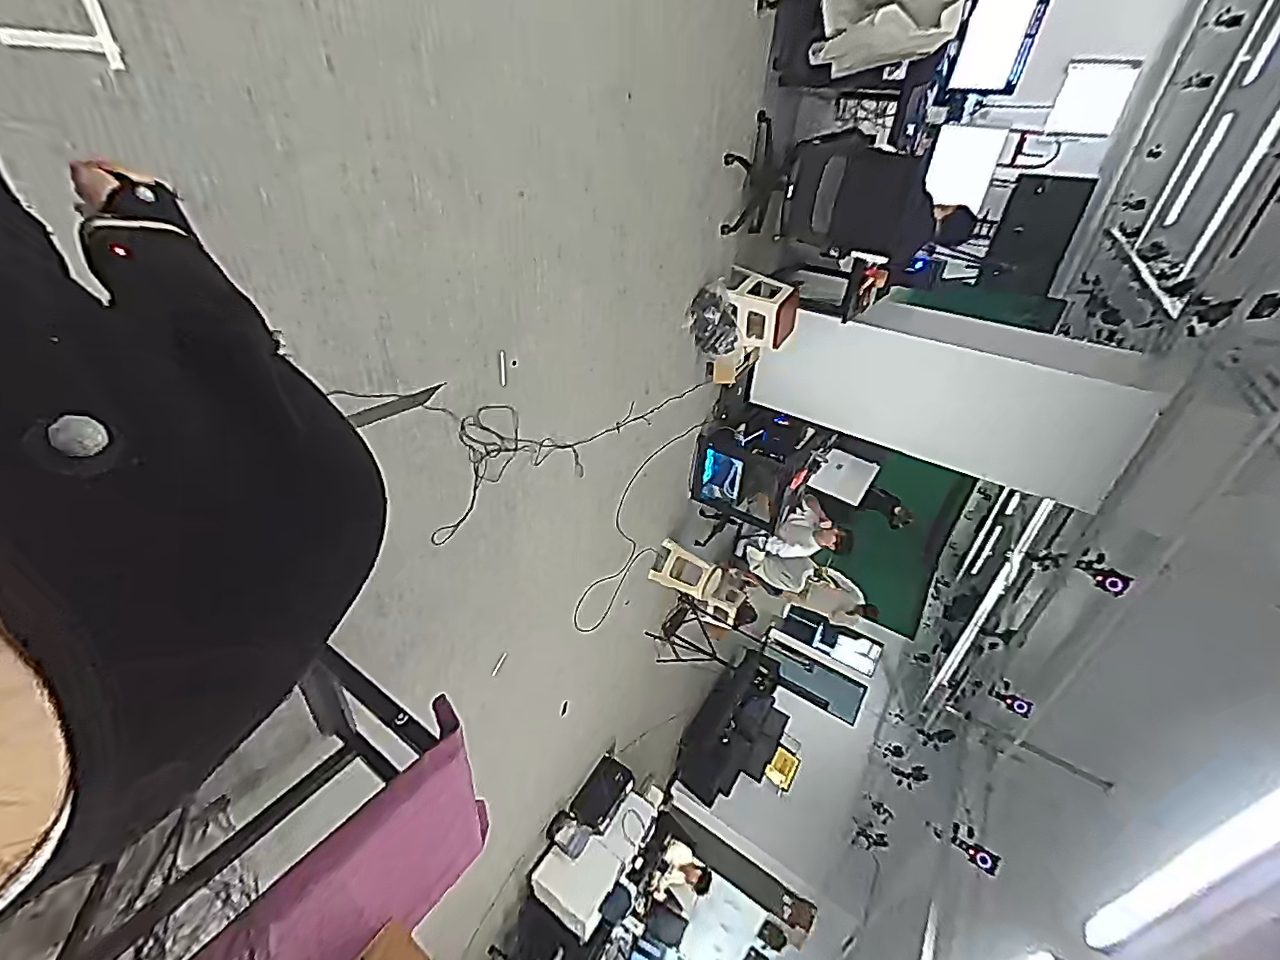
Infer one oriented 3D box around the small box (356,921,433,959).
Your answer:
[{"bbox_3d":[-0.656,1.325,1.430,0.168,0.176,0.179,-38,140,-45],"label":"small box"}]
